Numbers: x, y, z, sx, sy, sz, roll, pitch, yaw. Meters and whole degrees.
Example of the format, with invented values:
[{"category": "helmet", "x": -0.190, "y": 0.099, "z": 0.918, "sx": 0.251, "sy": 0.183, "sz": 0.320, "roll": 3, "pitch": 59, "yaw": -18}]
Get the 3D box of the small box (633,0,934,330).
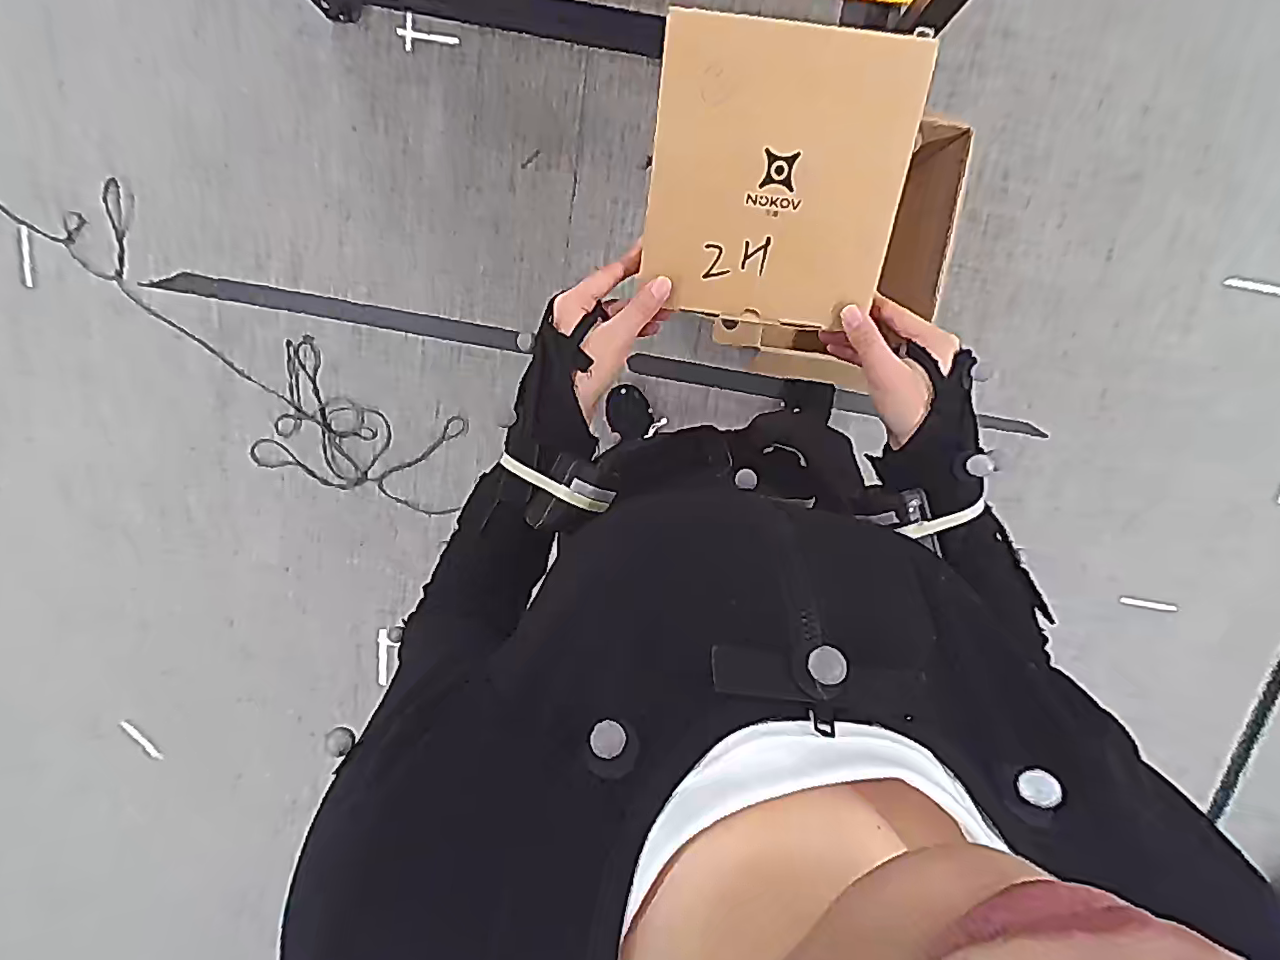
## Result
[{"category": "small box", "x": 0.090, "y": -0.224, "z": 0.425, "sx": 0.168, "sy": 0.176, "sz": 0.179, "roll": 8, "pitch": 111, "yaw": 1}]
